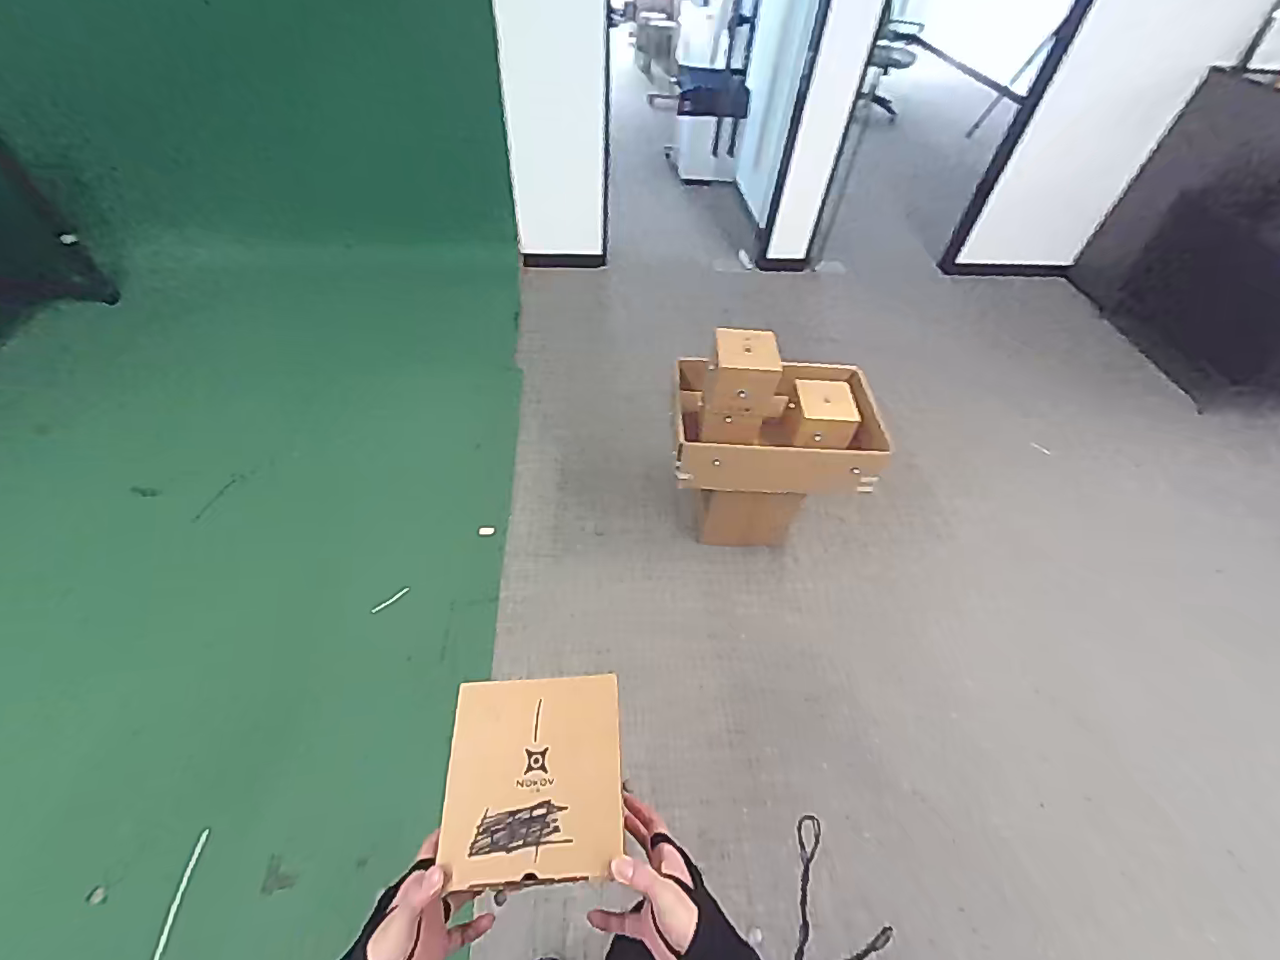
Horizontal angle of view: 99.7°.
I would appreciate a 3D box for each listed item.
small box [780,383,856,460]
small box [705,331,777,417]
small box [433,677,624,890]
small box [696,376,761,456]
[{"bbox_3d":[0.544,-0.180,1.676,0.168,0.176,0.179,3,49,-2],"label":"small box"},{"bbox_3d":[0.280,-0.297,1.534,0.168,0.176,0.179,4,50,-3],"label":"small box"},{"bbox_3d":[-0.102,0.327,0.580,0.168,0.176,0.179,-1,52,-2],"label":"small box"},{"bbox_3d":[0.266,-0.197,1.663,0.168,0.176,0.179,4,49,0],"label":"small box"}]
